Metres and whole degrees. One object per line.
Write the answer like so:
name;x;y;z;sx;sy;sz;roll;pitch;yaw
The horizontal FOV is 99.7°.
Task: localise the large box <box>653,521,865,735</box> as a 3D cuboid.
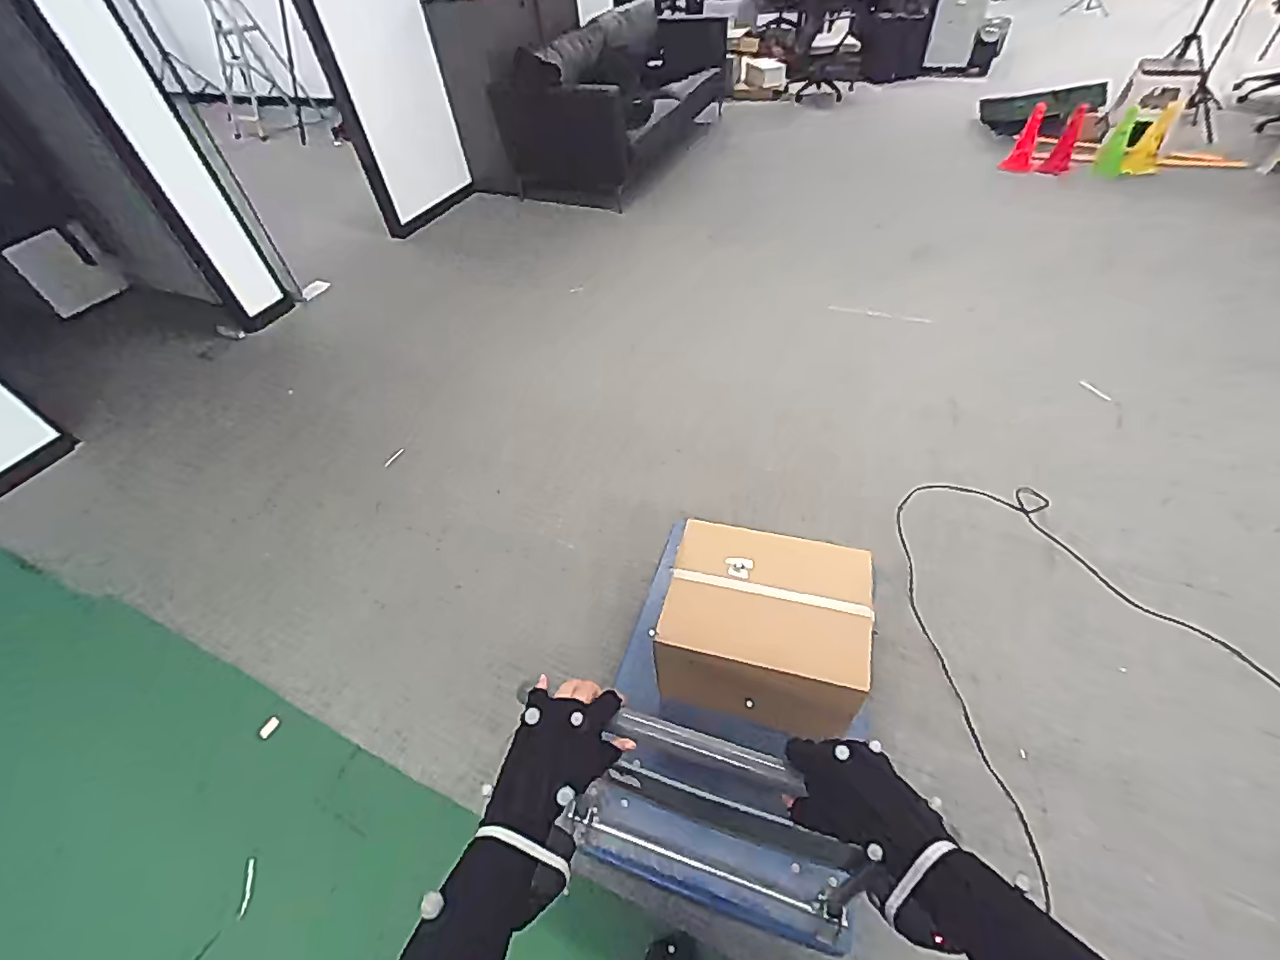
large box;0.268;0.333;1.223;0.408;0.320;0.320;9;49;14
